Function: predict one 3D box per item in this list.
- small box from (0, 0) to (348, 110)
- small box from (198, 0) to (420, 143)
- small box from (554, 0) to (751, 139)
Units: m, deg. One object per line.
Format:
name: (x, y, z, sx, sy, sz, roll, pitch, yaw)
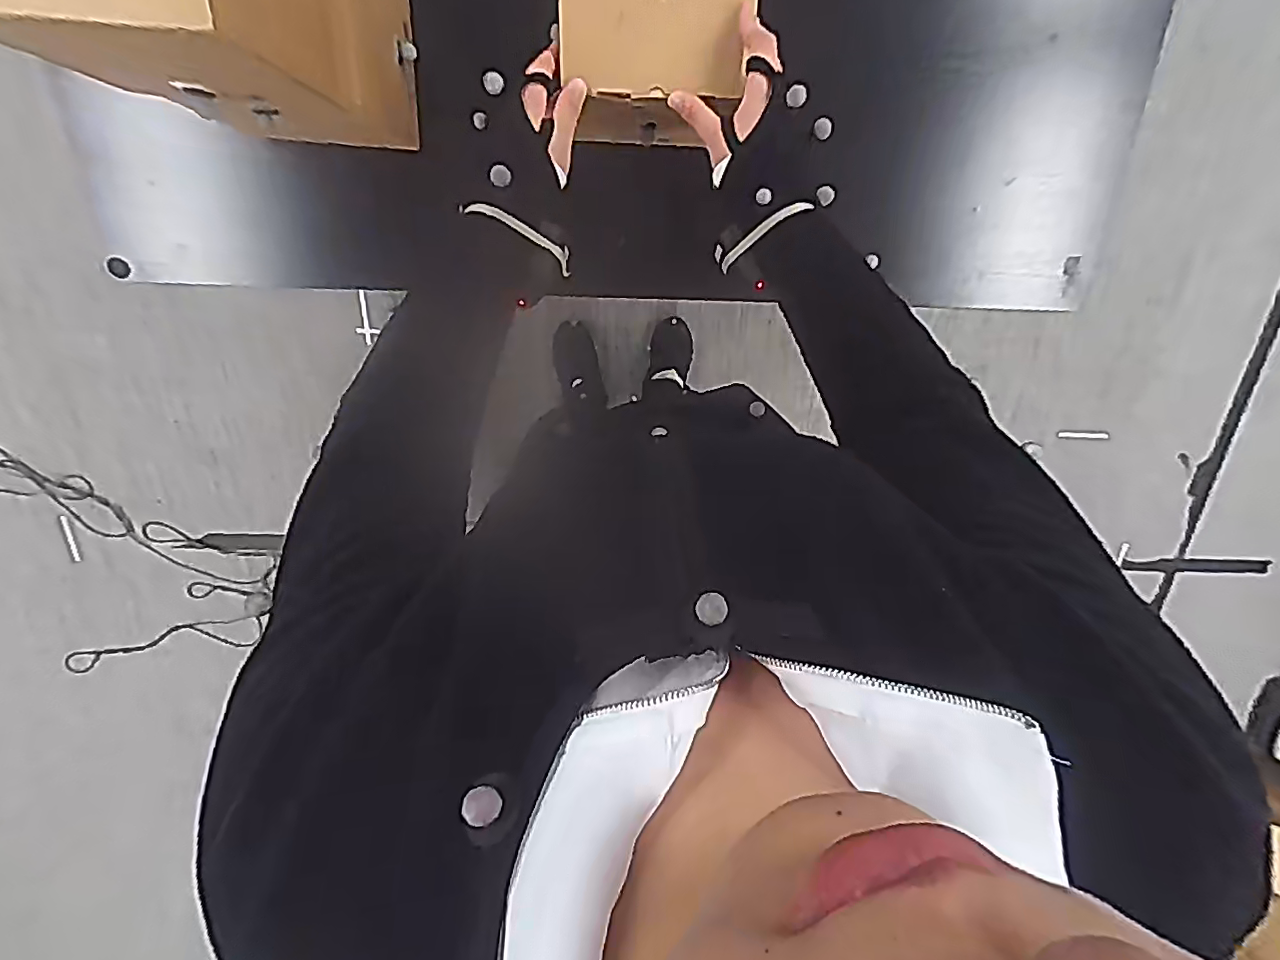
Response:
small box: (-0.315, -0.366, 0.344, 0.168, 0.176, 0.179, 1, 111, -3)
small box: (-0.322, -0.424, 0.495, 0.179, 0.176, 0.168, 1, 111, -5)
small box: (0.009, -0.441, 0.512, 0.168, 0.176, 0.179, 0, 110, -4)
